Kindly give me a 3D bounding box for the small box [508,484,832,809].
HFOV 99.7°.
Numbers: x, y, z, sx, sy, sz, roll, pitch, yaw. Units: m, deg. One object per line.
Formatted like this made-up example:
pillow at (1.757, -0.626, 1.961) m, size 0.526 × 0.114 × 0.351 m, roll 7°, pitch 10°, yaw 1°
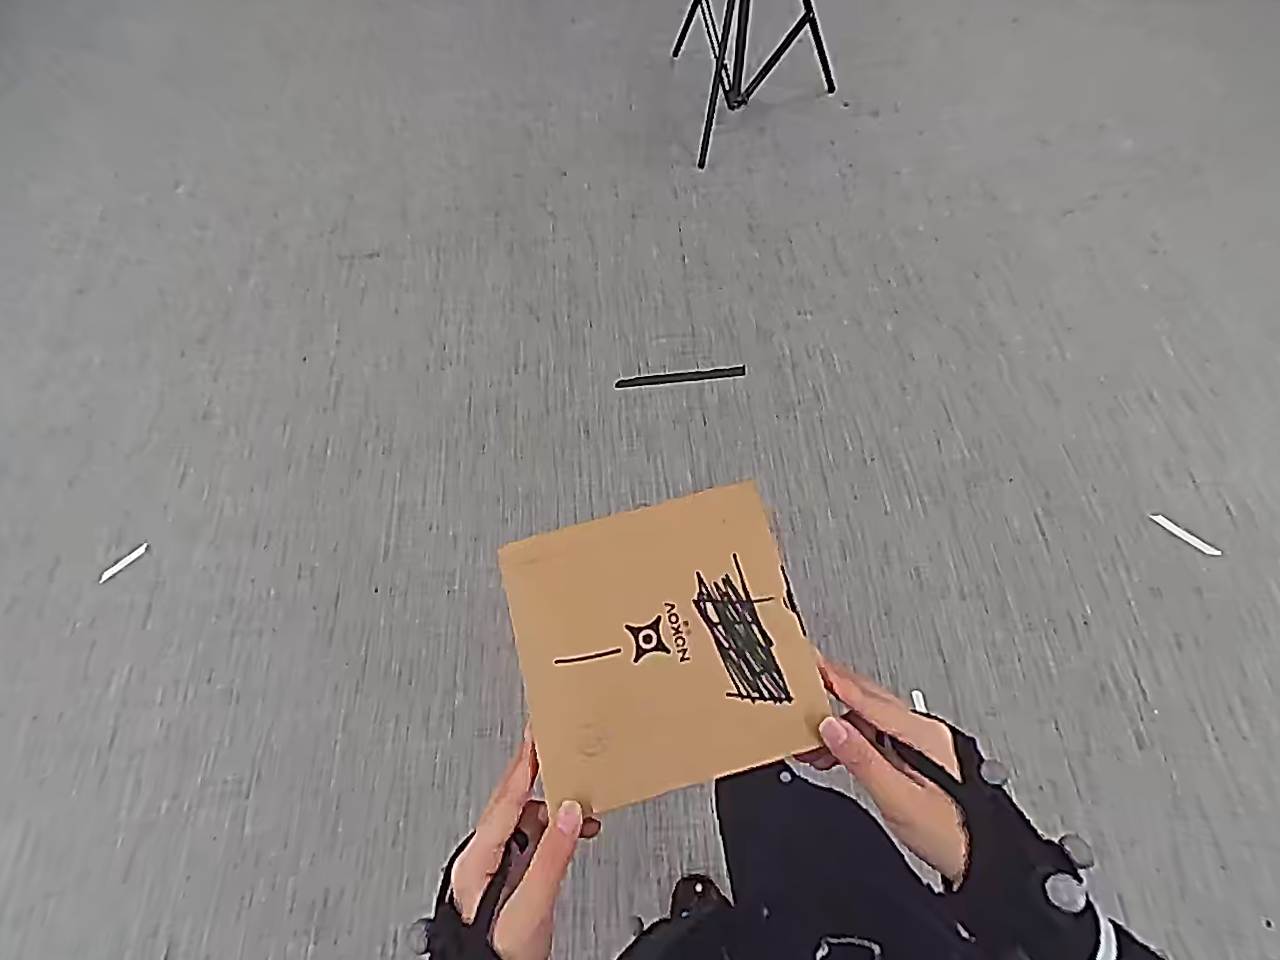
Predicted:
small box at (0.014, 0.119, 0.417) m, size 0.179 × 0.176 × 0.168 m, roll -14°, pitch 73°, yaw -4°
